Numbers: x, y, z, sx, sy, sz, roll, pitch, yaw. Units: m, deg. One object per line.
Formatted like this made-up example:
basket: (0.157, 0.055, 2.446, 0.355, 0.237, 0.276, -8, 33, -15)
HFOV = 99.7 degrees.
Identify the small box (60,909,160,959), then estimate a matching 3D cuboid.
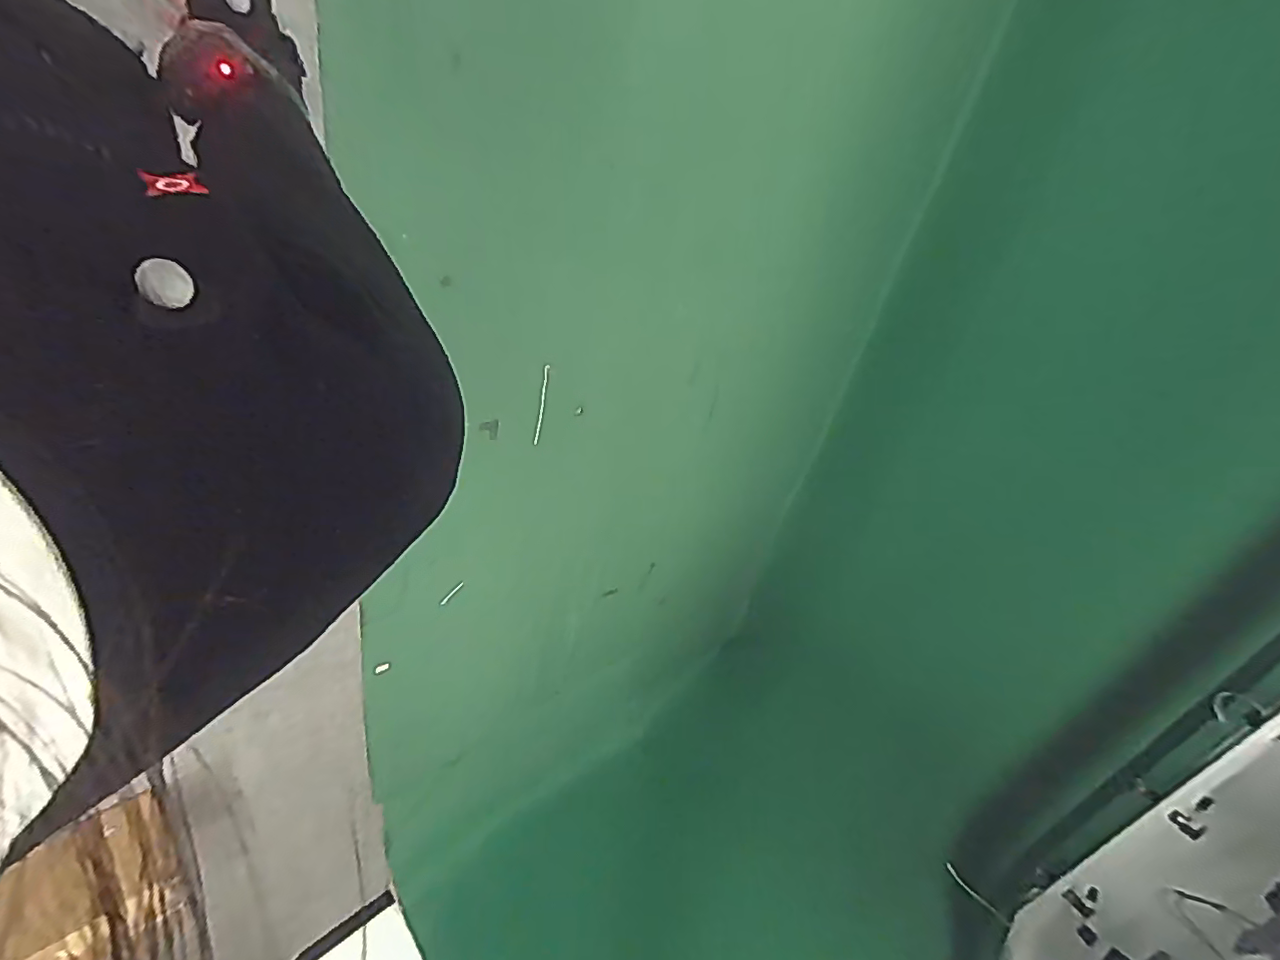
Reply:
small box: (-1.403, 1.307, 1.433, 0.179, 0.176, 0.168, -18, 128, -40)
